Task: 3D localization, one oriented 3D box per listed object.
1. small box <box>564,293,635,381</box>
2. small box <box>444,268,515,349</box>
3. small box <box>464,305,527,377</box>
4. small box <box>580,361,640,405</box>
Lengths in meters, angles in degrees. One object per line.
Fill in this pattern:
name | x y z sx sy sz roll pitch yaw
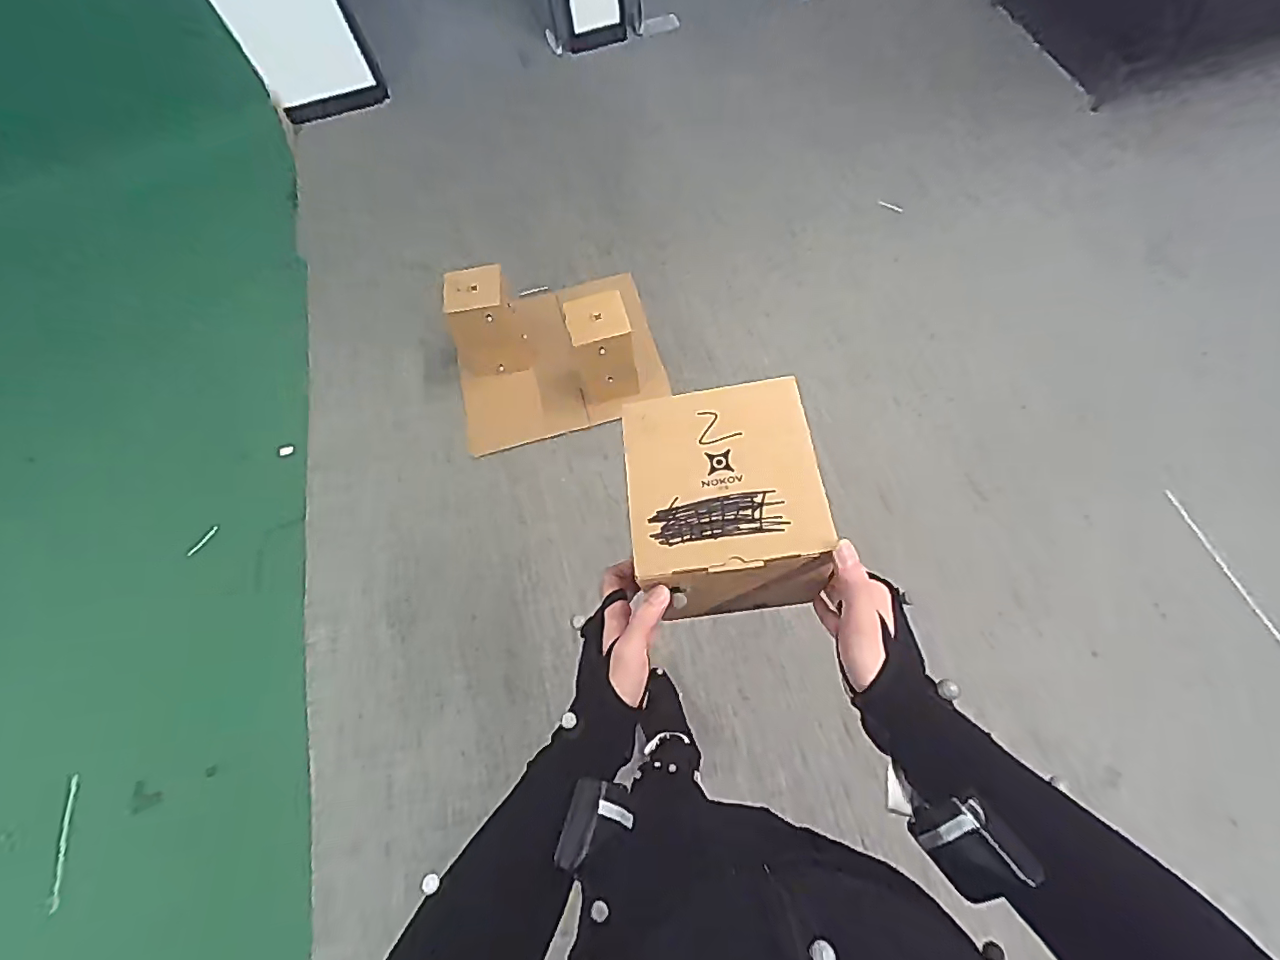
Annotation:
small box | -0.116 -0.427 1.630 0.179 0.176 0.168 -15 67 -1
small box | -0.497 -0.537 1.703 0.179 0.176 0.168 -8 65 1
small box | -0.488 -0.475 1.857 0.179 0.176 0.168 -7 65 1
small box | -0.105 -0.368 1.780 0.179 0.176 0.168 -14 66 -1
